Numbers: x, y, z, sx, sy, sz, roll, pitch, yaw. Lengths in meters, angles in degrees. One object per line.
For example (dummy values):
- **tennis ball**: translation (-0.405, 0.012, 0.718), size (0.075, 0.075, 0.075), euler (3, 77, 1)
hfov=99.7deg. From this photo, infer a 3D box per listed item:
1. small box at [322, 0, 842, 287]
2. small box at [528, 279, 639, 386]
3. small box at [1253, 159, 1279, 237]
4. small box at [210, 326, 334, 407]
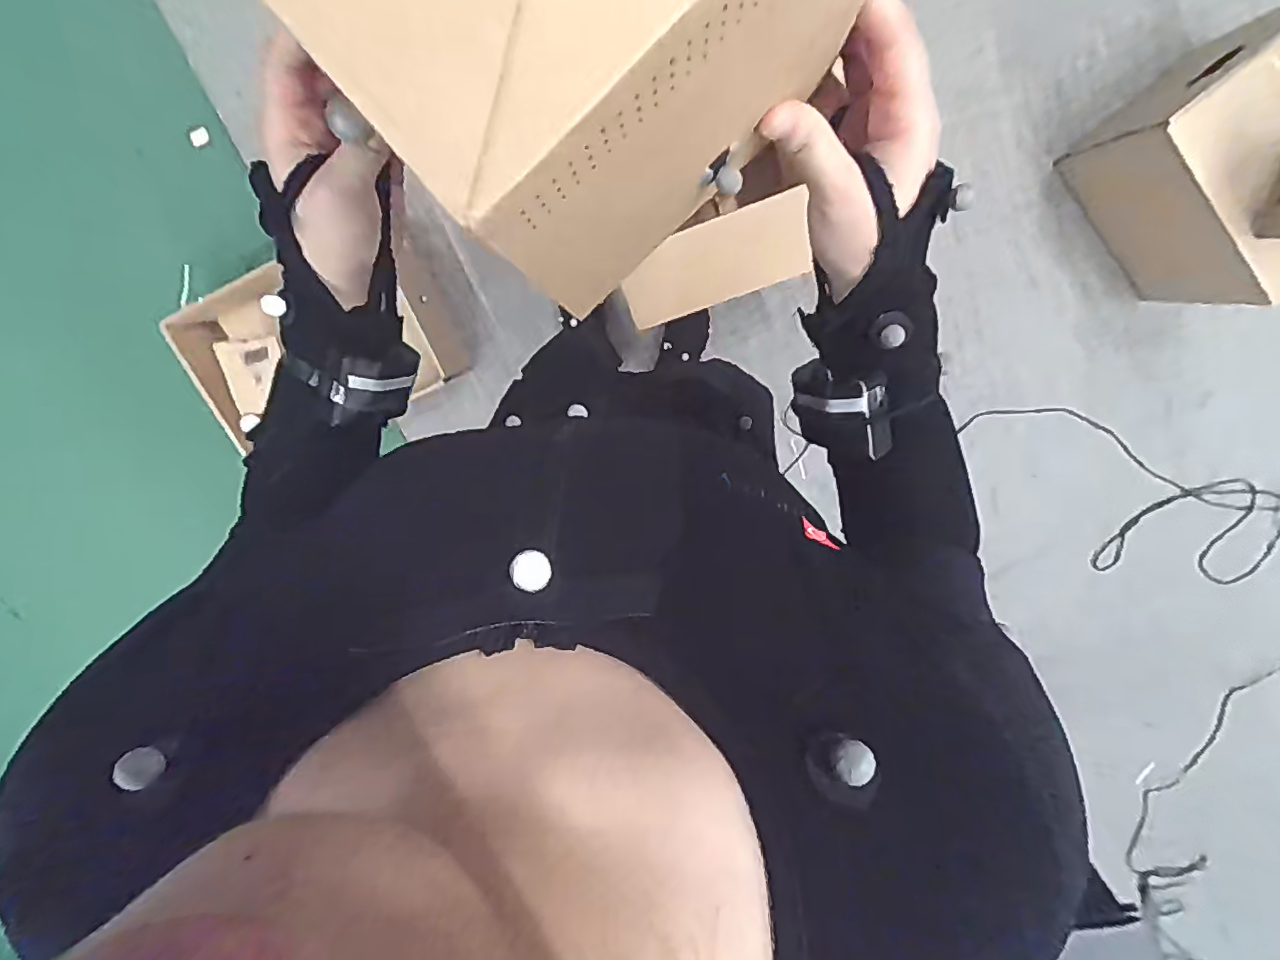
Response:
- **small box**: translation (-0.024, -0.208, 0.208), size (0.179, 0.176, 0.168), euler (-42, 93, 8)
- **small box**: translation (-0.126, -0.354, 1.291), size (0.176, 0.168, 0.179), euler (37, 83, -39)
- **small box**: translation (1.143, -0.474, 0.839), size (0.179, 0.176, 0.168), euler (1, 111, 7)
- **small box**: translation (-0.914, -0.291, 1.362), size (0.168, 0.176, 0.179), euler (-5, 109, 6)
